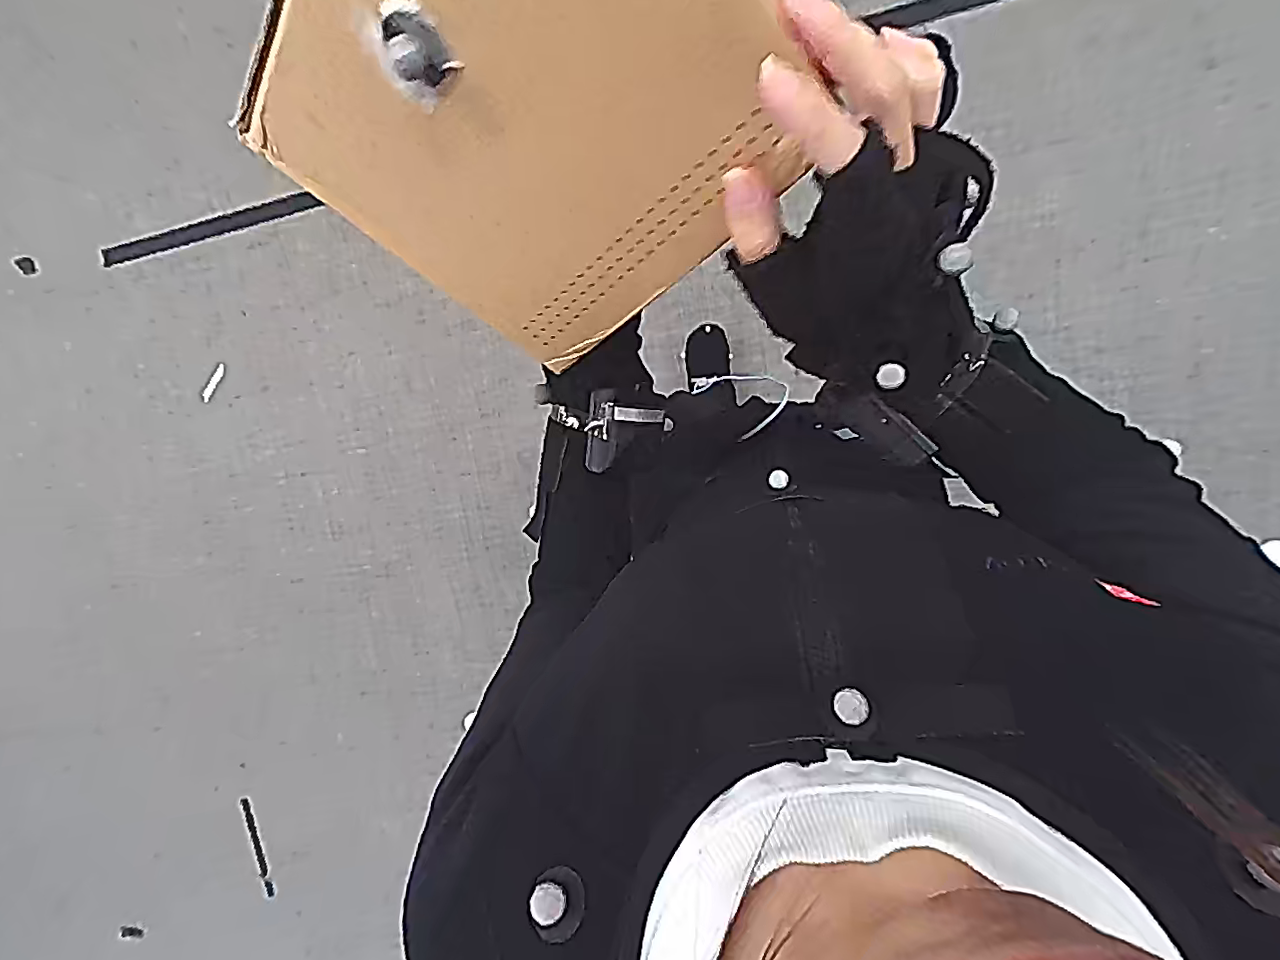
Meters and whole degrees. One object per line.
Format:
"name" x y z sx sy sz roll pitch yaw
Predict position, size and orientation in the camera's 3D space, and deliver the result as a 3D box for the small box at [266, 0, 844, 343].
"small box" -0.031 -0.202 0.262 0.176 0.168 0.179 33 136 -32
